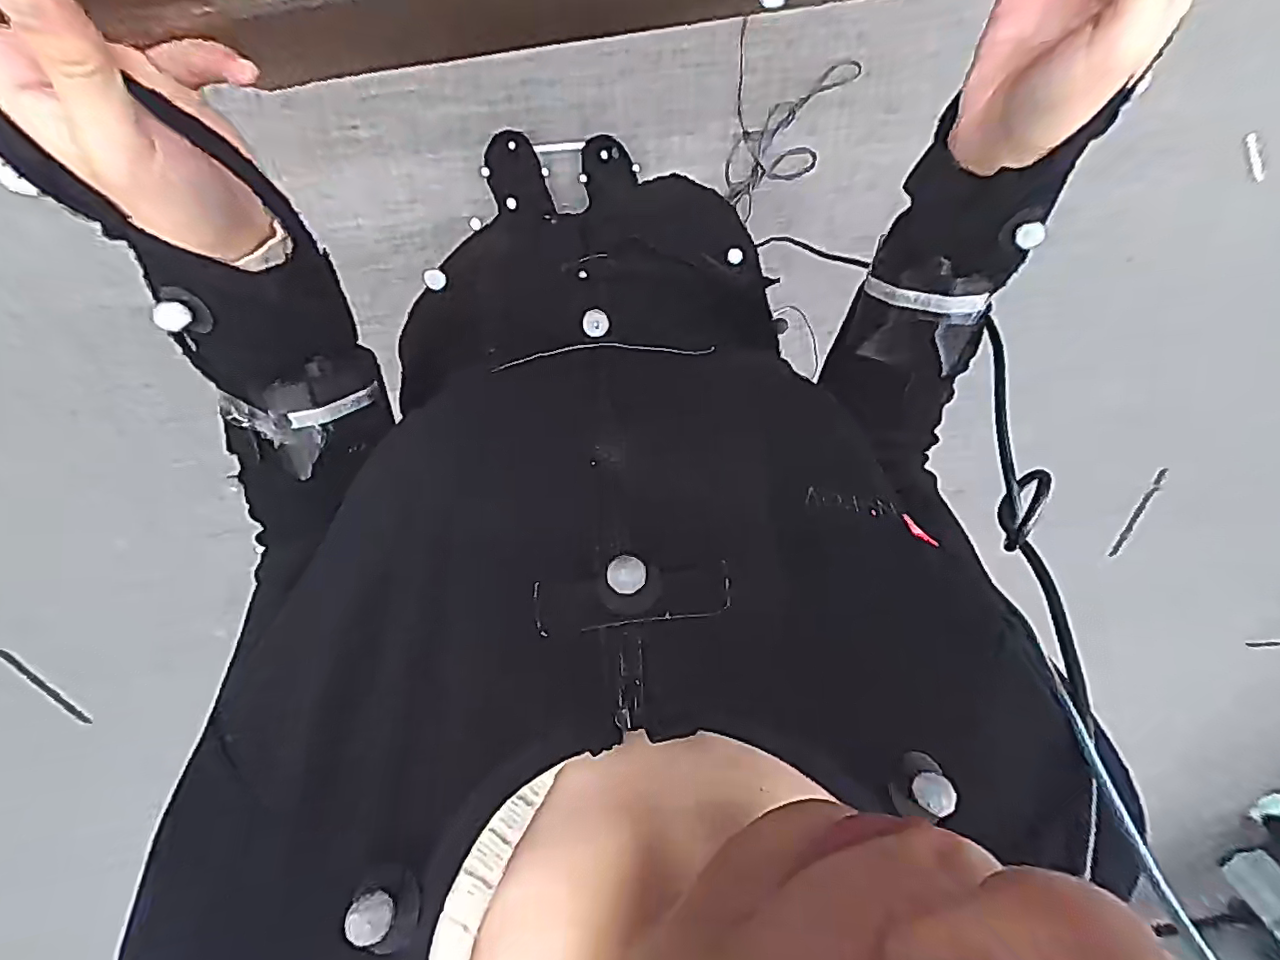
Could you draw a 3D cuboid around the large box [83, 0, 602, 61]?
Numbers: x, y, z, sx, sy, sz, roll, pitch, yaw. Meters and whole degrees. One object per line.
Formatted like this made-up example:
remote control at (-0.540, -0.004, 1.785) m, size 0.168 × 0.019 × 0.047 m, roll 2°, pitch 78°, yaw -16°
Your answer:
large box at (-0.028, -0.331, 0.104) m, size 0.408 × 0.320 × 0.320 m, roll -12°, pitch 121°, yaw -2°
